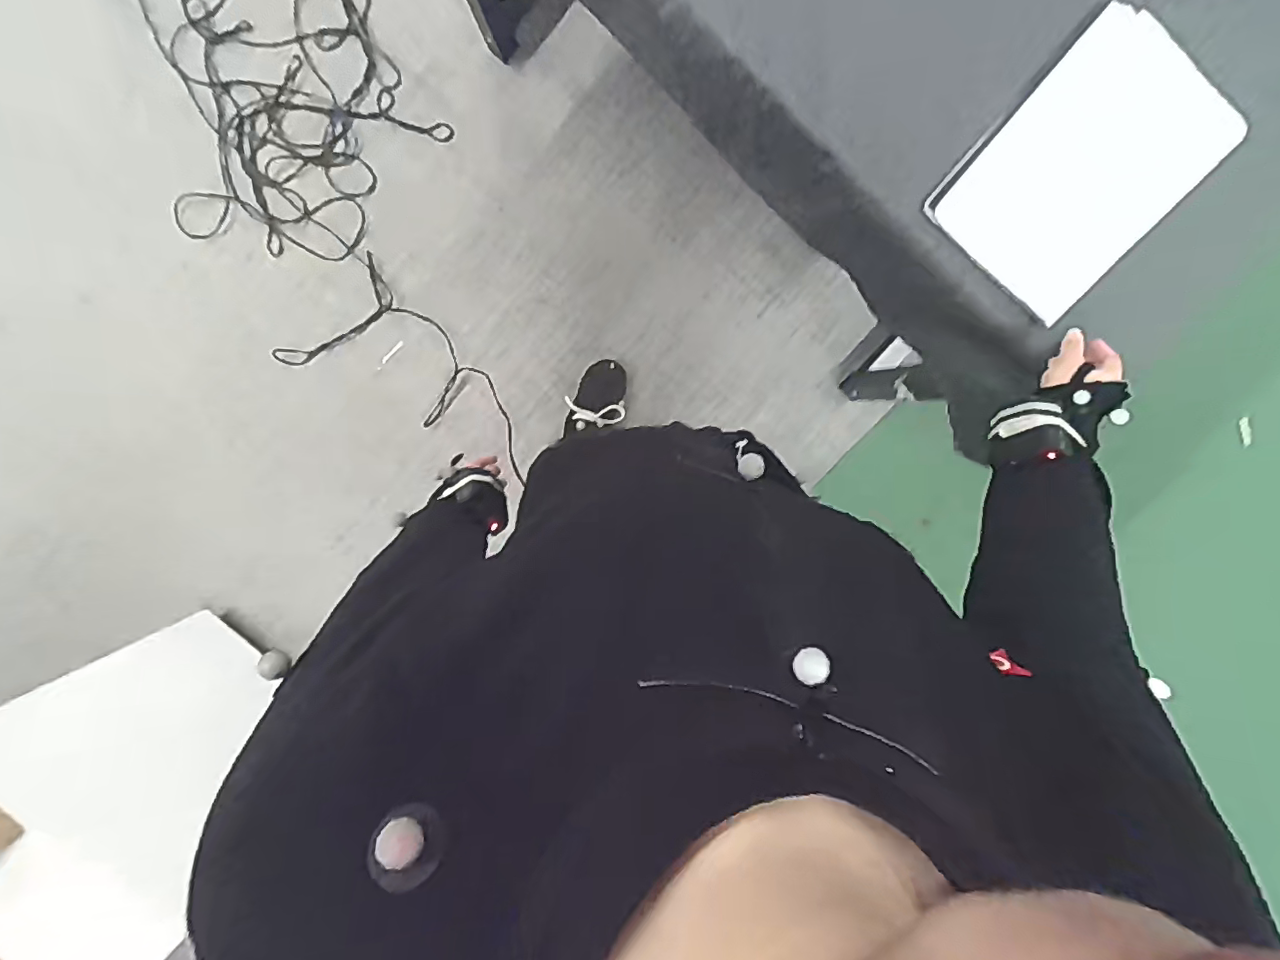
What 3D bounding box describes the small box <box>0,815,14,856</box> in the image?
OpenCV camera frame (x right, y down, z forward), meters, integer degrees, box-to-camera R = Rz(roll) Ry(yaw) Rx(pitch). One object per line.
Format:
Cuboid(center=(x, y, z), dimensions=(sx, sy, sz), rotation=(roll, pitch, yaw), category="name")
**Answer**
Cuboid(center=(-1.085, 0.566, 0.771), dimensions=(0.168, 0.176, 0.179), rotation=(44, 97, -5), category="small box")
